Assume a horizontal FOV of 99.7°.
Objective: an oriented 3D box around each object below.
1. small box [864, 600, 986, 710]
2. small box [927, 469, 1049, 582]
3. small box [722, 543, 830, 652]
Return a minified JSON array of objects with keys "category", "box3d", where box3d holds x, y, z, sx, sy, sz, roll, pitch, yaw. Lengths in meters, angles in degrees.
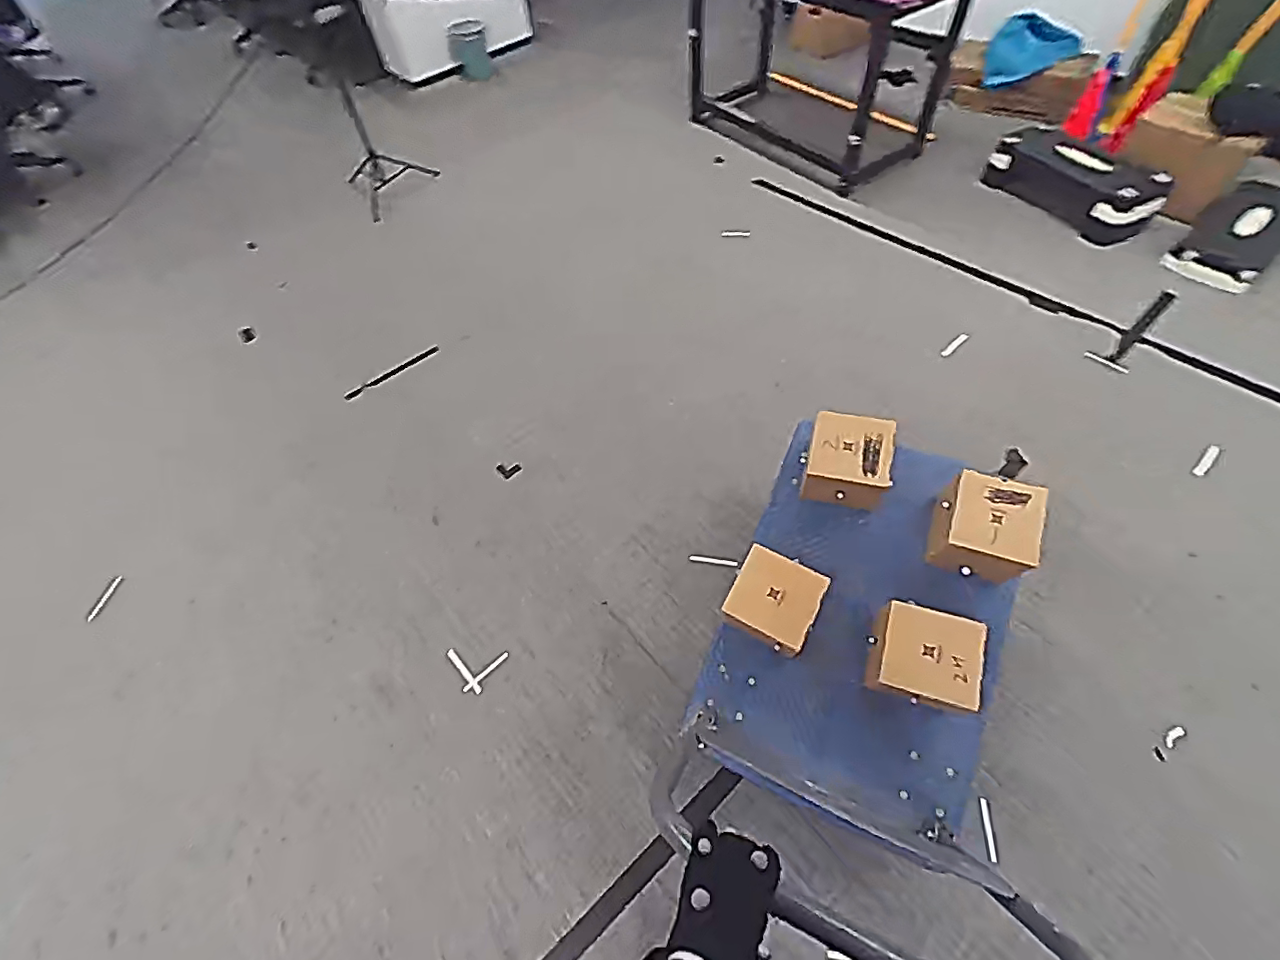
[{"category":"small box","box3d":[0.573,0.361,1.107,0.179,0.176,0.168,14,71,16]},{"category":"small box","box3d":[0.749,0.103,1.180,0.168,0.176,0.179,16,73,17]},{"category":"small box","box3d":[0.295,0.267,1.199,0.179,0.176,0.168,25,74,18]}]
